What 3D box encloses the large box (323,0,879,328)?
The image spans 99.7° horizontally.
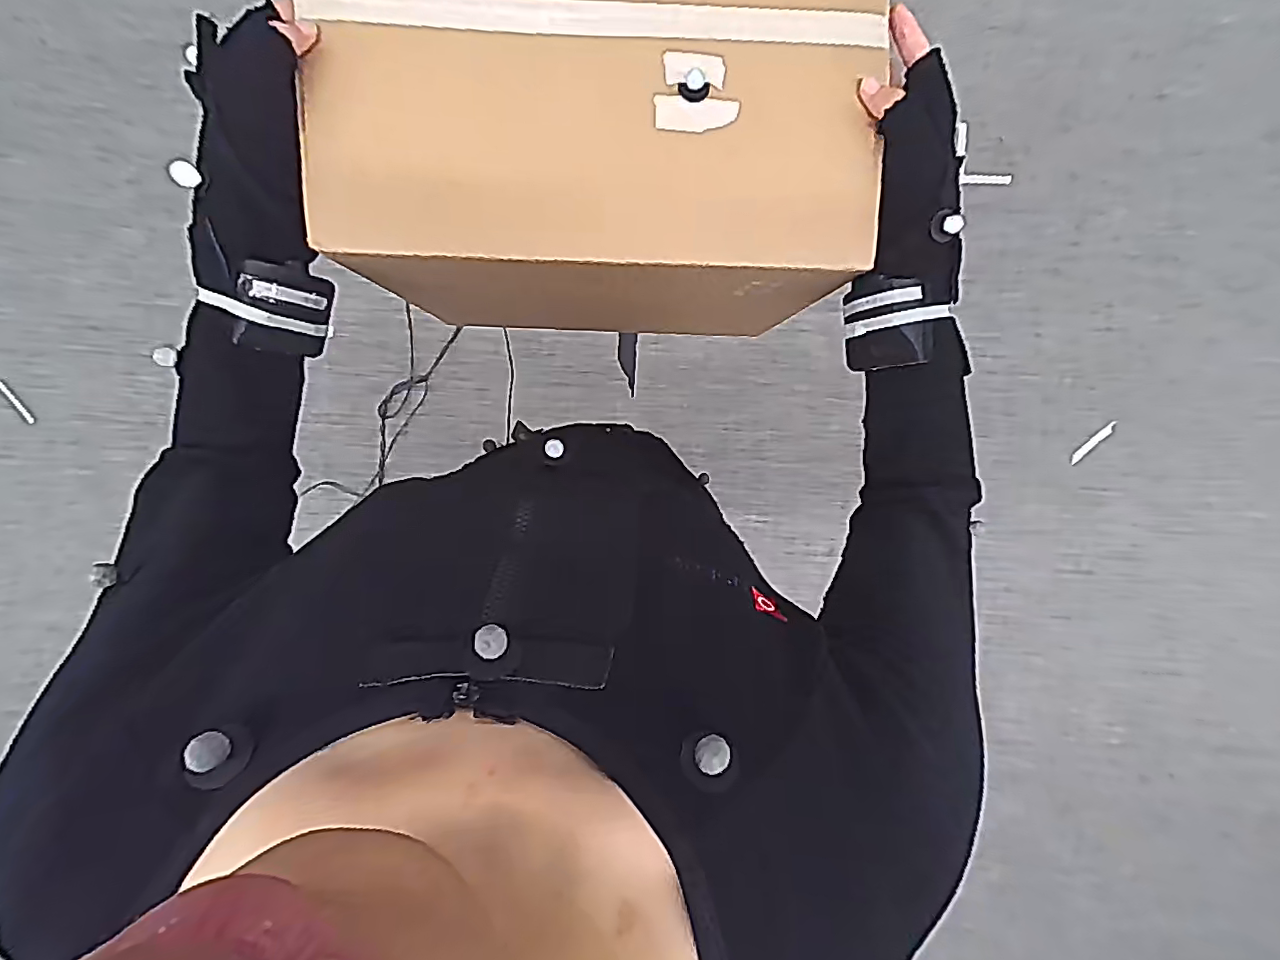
[{"bbox_3d":[-0.033,-0.335,0.536,0.408,0.320,0.320,1,96,-3],"label":"large box"}]
